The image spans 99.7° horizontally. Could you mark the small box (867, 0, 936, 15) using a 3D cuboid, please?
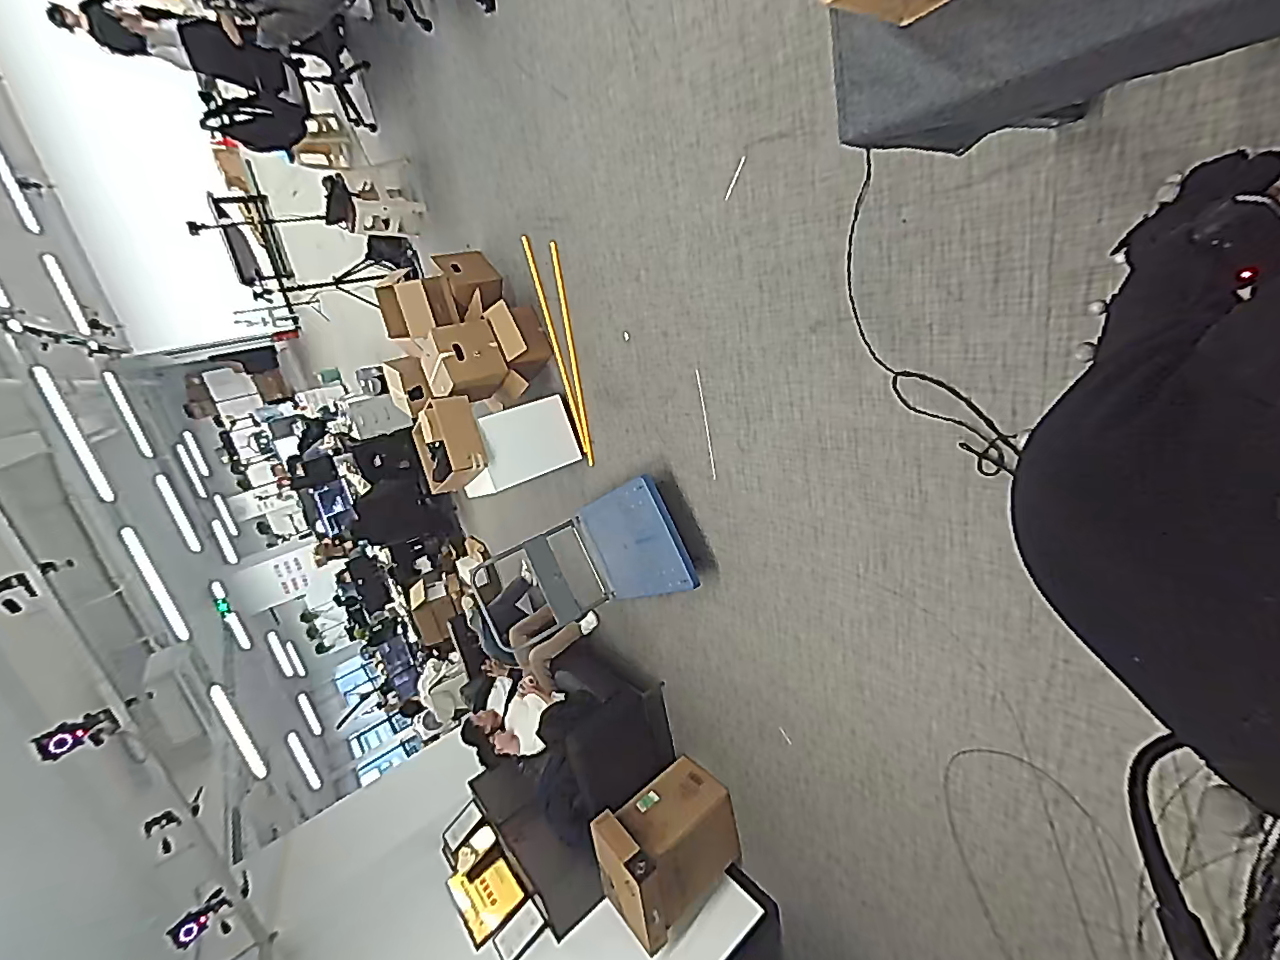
[{"bbox_3d":[0.285,-0.601,0.522,0.168,0.176,0.179,10,118,52],"label":"small box"}]
